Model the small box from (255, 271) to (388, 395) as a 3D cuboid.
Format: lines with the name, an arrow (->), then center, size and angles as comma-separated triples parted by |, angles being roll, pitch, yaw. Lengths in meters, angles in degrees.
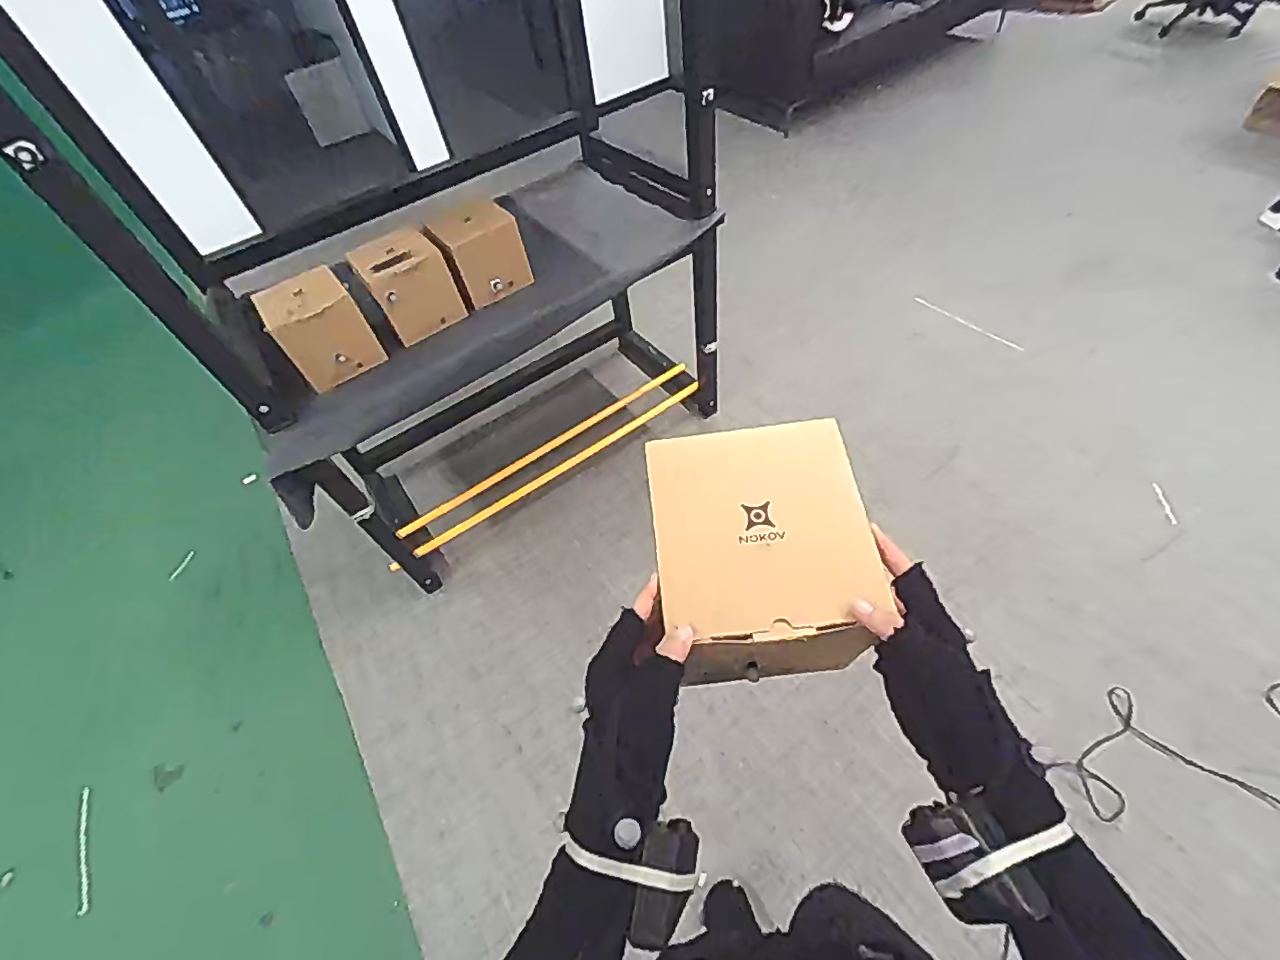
small box -> -0.685, -0.317, 1.173 | 0.168, 0.176, 0.179 | -34, 55, -18
